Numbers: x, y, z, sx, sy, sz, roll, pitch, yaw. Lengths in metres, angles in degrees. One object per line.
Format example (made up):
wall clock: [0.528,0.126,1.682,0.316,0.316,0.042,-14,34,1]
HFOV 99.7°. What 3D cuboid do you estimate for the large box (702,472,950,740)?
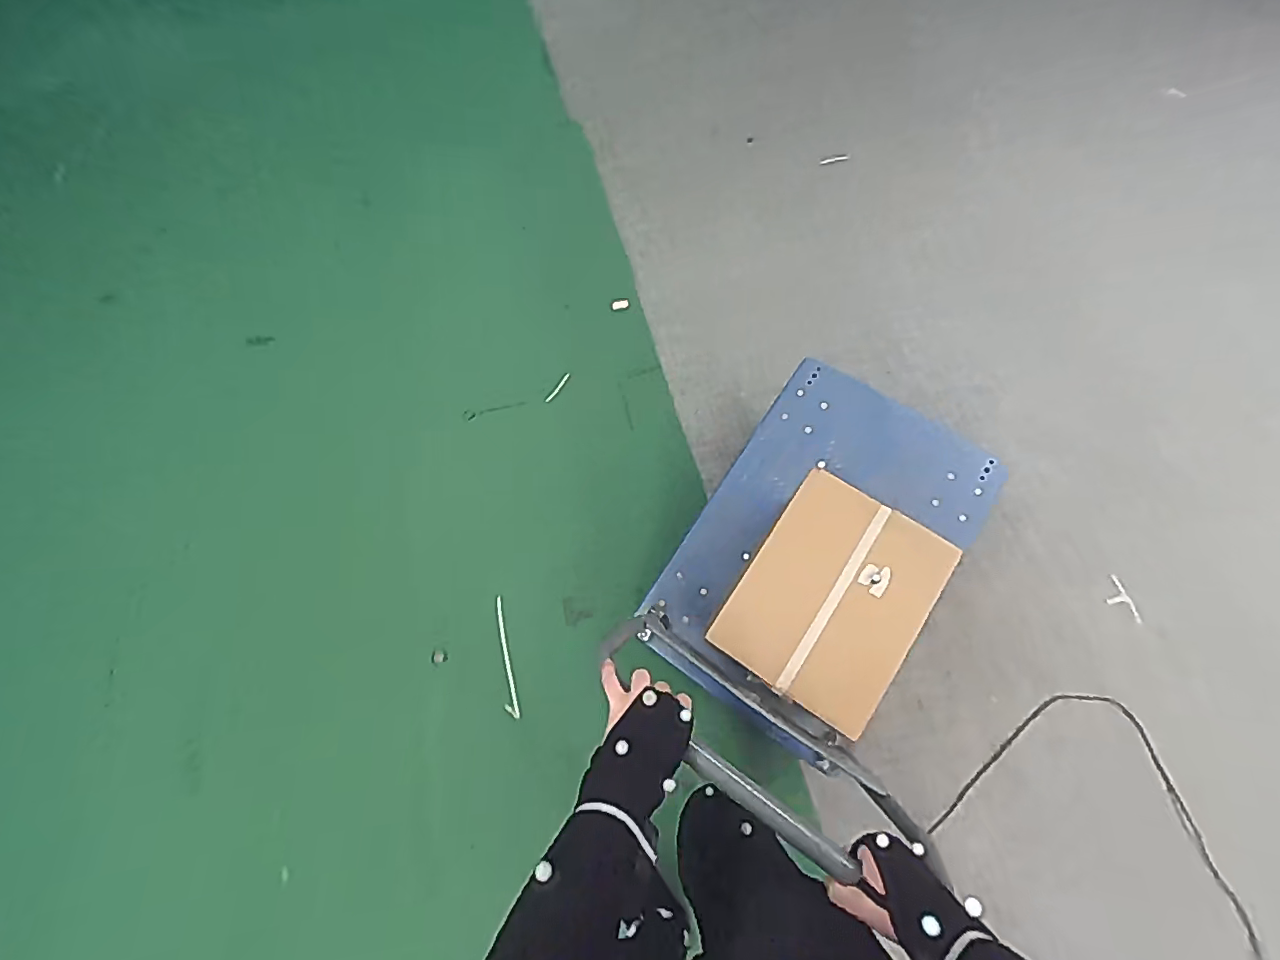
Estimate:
large box: [0.365,0.265,1.154,0.320,0.320,0.408,33,78,13]
